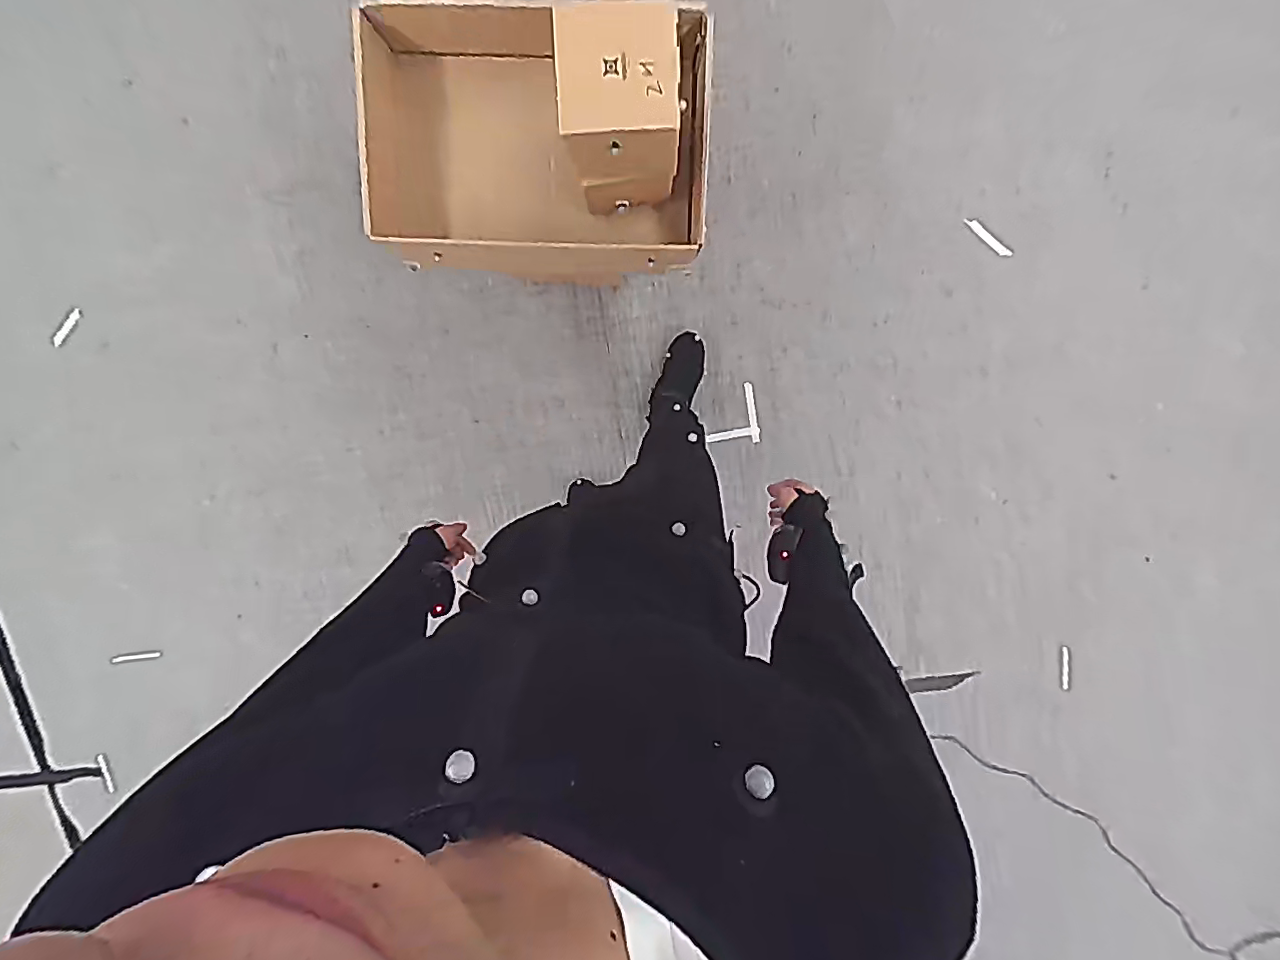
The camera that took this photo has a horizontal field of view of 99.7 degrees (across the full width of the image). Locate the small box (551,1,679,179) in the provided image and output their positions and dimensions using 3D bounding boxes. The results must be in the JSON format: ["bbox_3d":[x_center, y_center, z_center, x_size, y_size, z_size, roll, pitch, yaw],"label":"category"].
[{"bbox_3d":[-0.030,-0.579,0.827,0.179,0.176,0.168,-1,99,2],"label":"small box"}]
